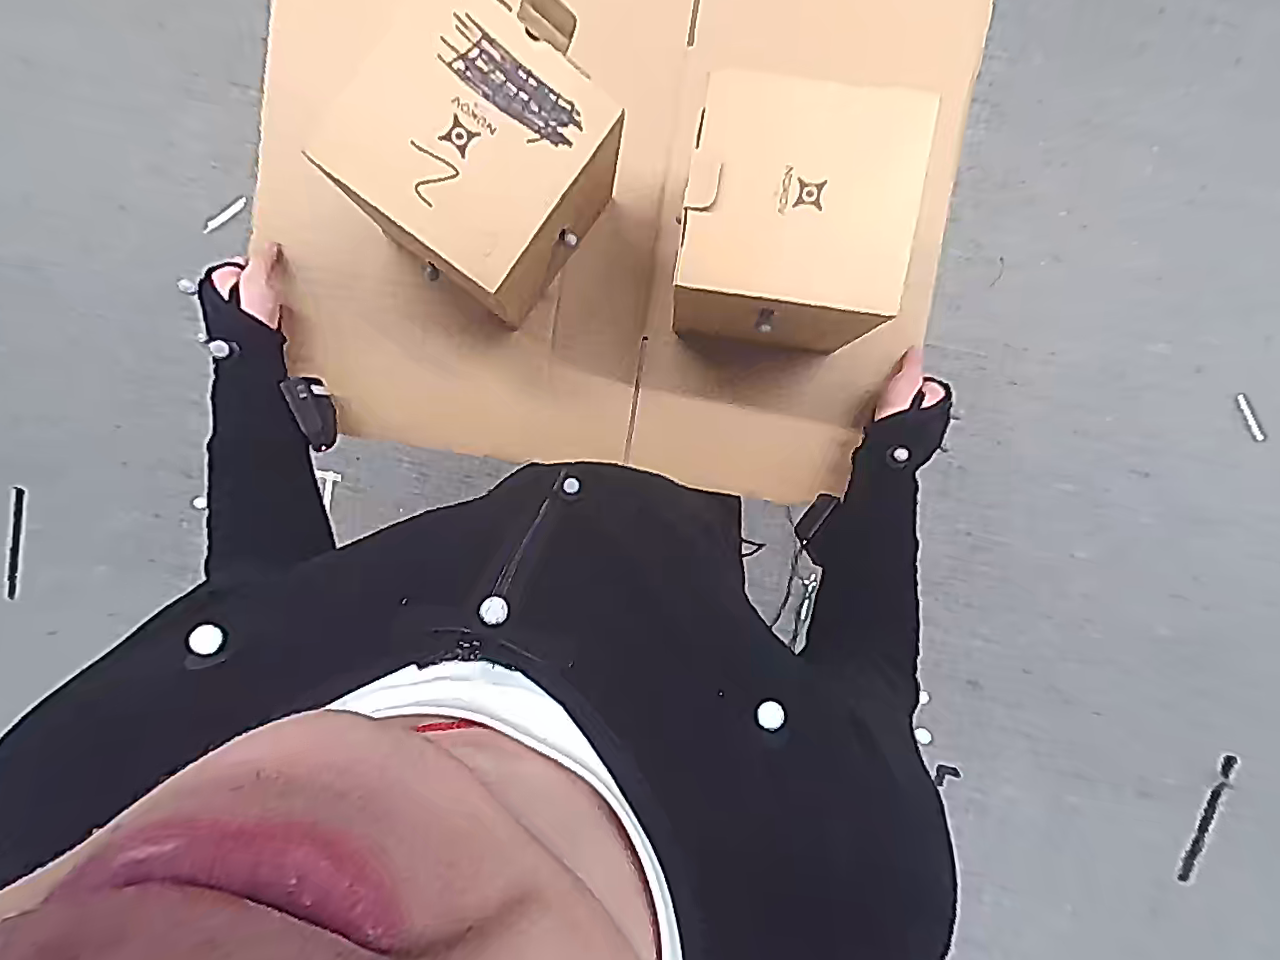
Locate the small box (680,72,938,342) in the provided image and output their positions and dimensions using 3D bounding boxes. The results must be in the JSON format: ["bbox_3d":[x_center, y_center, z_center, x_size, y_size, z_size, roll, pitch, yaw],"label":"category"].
[{"bbox_3d":[0.136,-0.231,0.504,0.179,0.176,0.168,9,95,4],"label":"small box"}]
